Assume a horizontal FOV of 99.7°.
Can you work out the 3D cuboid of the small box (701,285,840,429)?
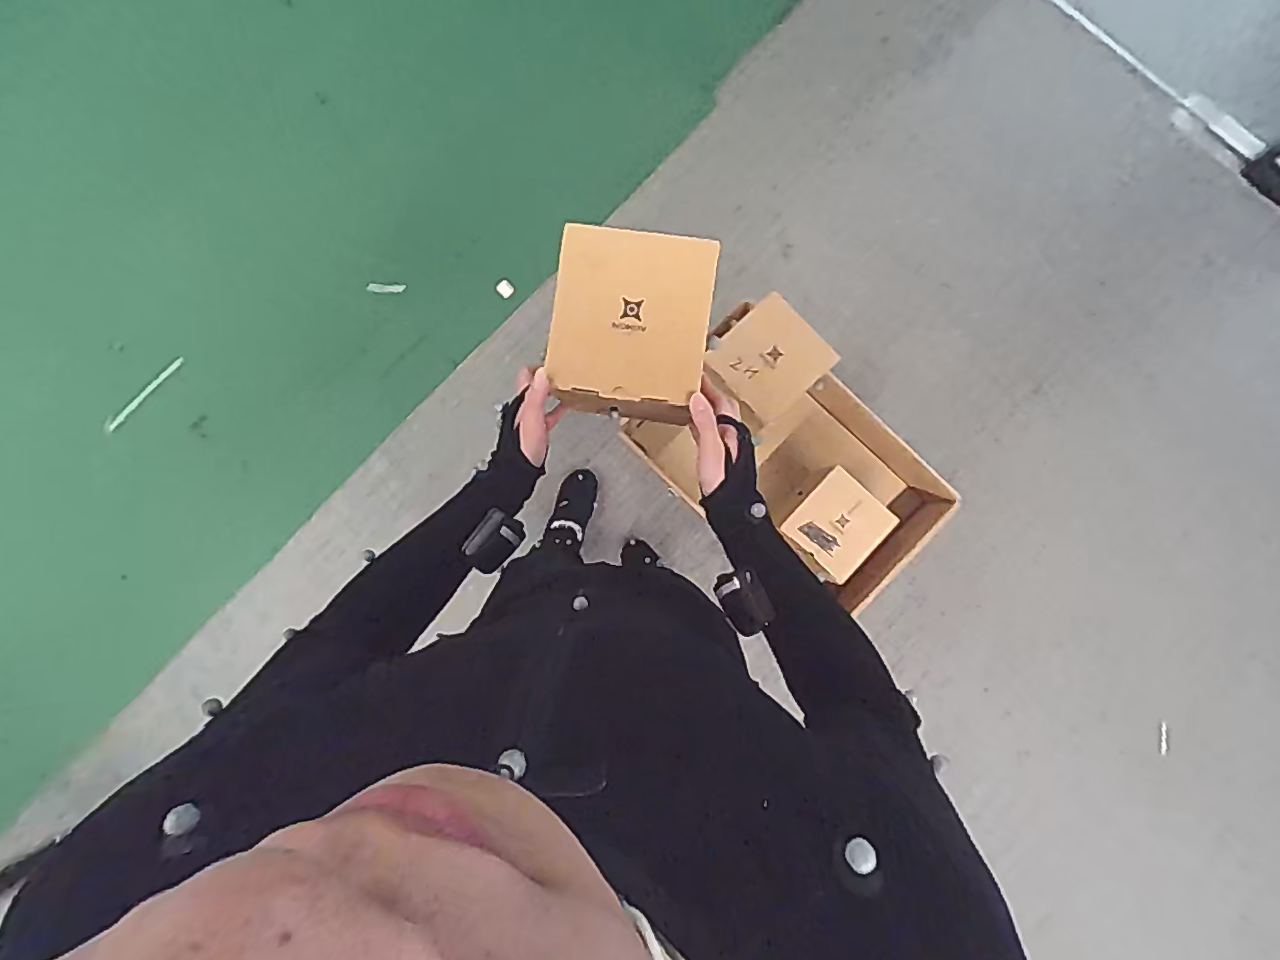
[{"bbox_3d":[0.224,-0.216,0.995,0.179,0.176,0.168,-42,87,-1],"label":"small box"}]

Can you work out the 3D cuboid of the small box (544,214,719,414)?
[{"bbox_3d":[-0.009,-0.181,0.639,0.168,0.176,0.179,7,92,1],"label":"small box"}]

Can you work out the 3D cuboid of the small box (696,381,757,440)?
[{"bbox_3d":[0.225,-0.208,1.159,0.179,0.176,0.168,-44,88,-2],"label":"small box"}]
